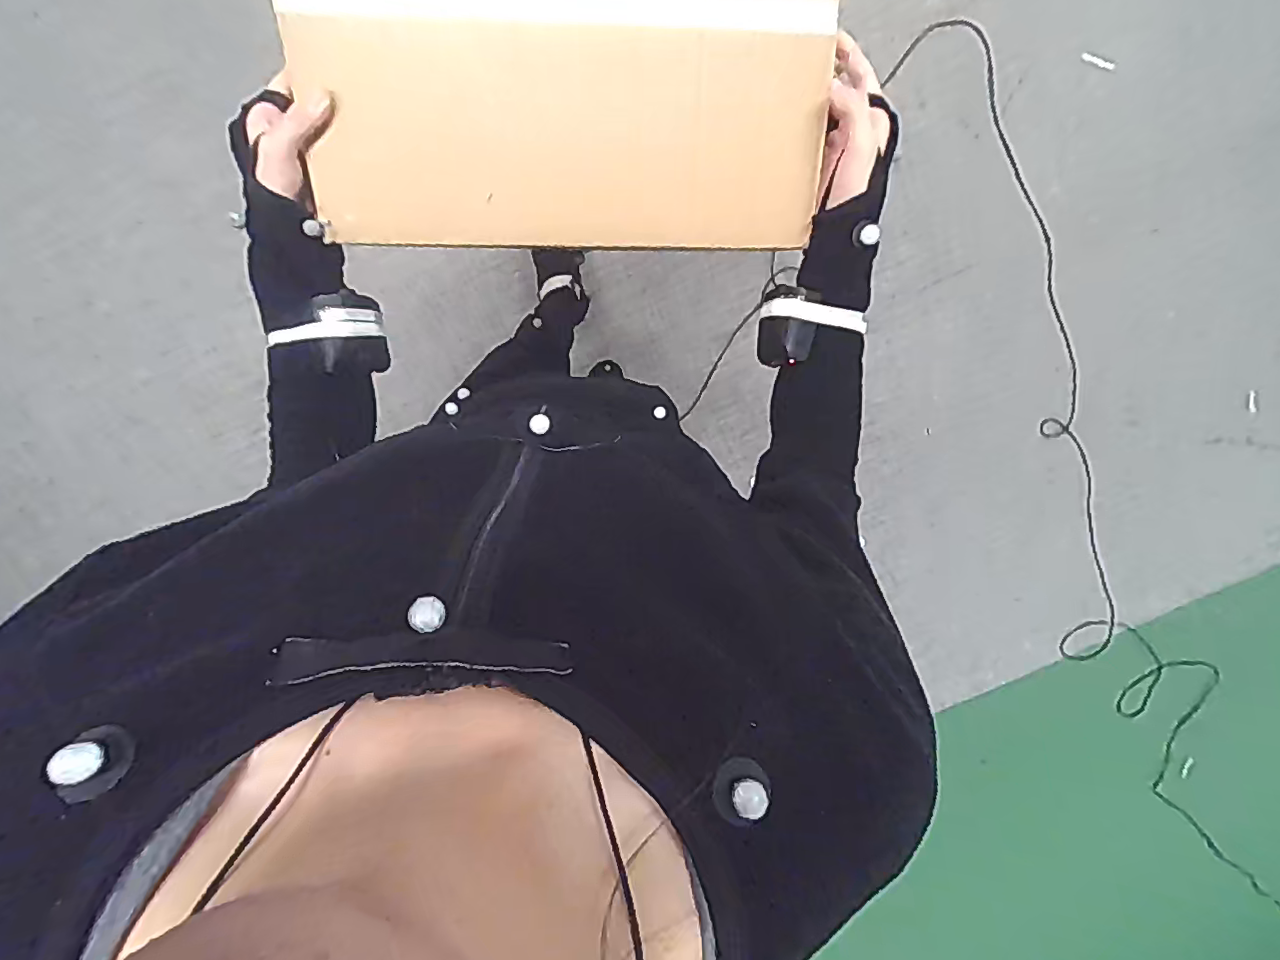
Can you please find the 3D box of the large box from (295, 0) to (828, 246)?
[{"bbox_3d":[-0.063,-0.409,0.542,0.408,0.320,0.320,-1,113,-4],"label":"large box"}]
